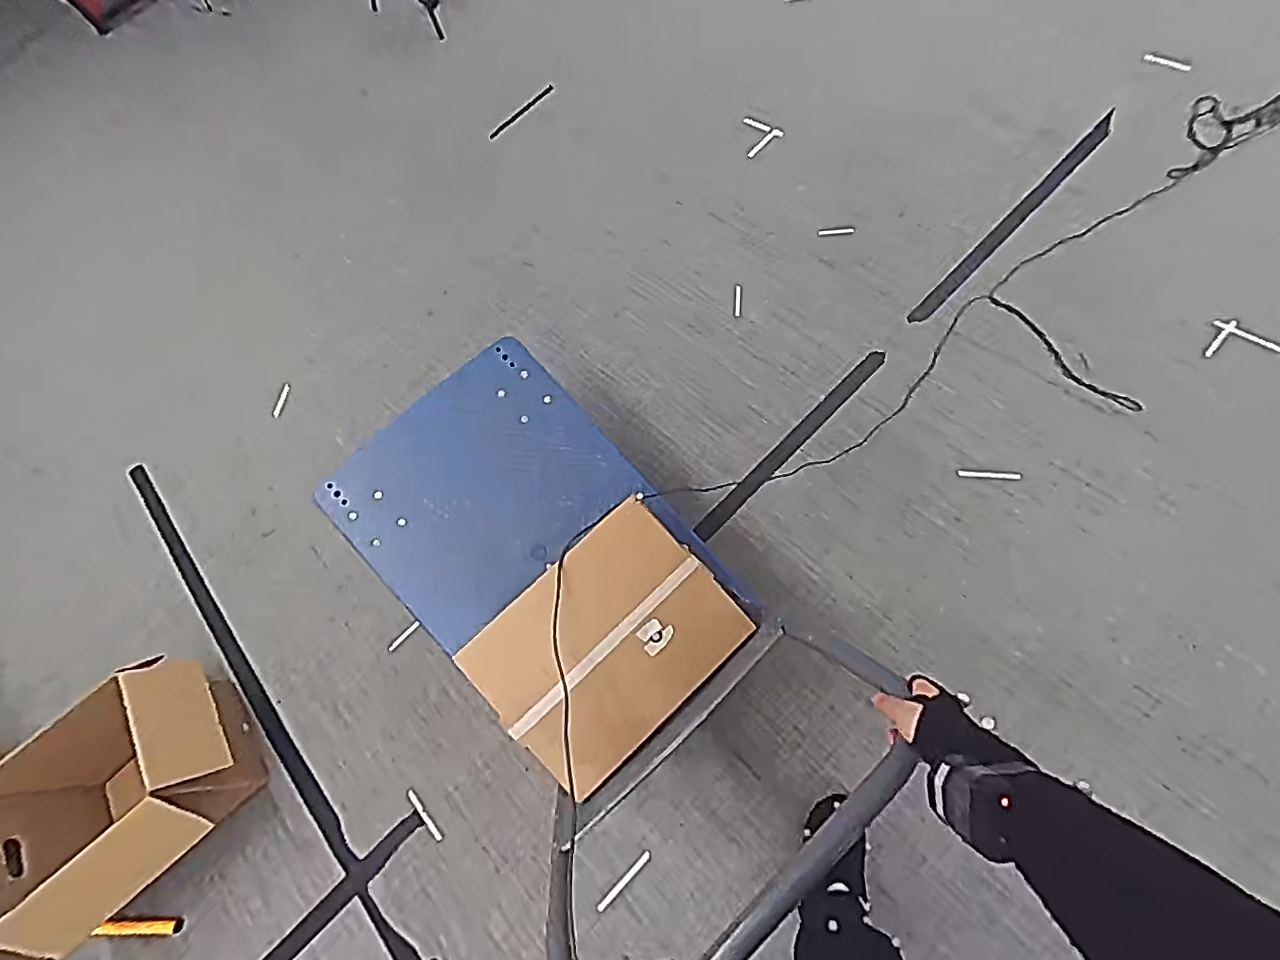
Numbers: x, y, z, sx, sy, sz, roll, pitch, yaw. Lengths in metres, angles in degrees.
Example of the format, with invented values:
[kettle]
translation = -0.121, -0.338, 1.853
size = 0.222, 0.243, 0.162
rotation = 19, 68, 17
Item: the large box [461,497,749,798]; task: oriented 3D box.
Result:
[large box]
translation = -0.066, 0.295, 1.054
size = 0.408, 0.320, 0.320
rotation = -43, 88, -9
